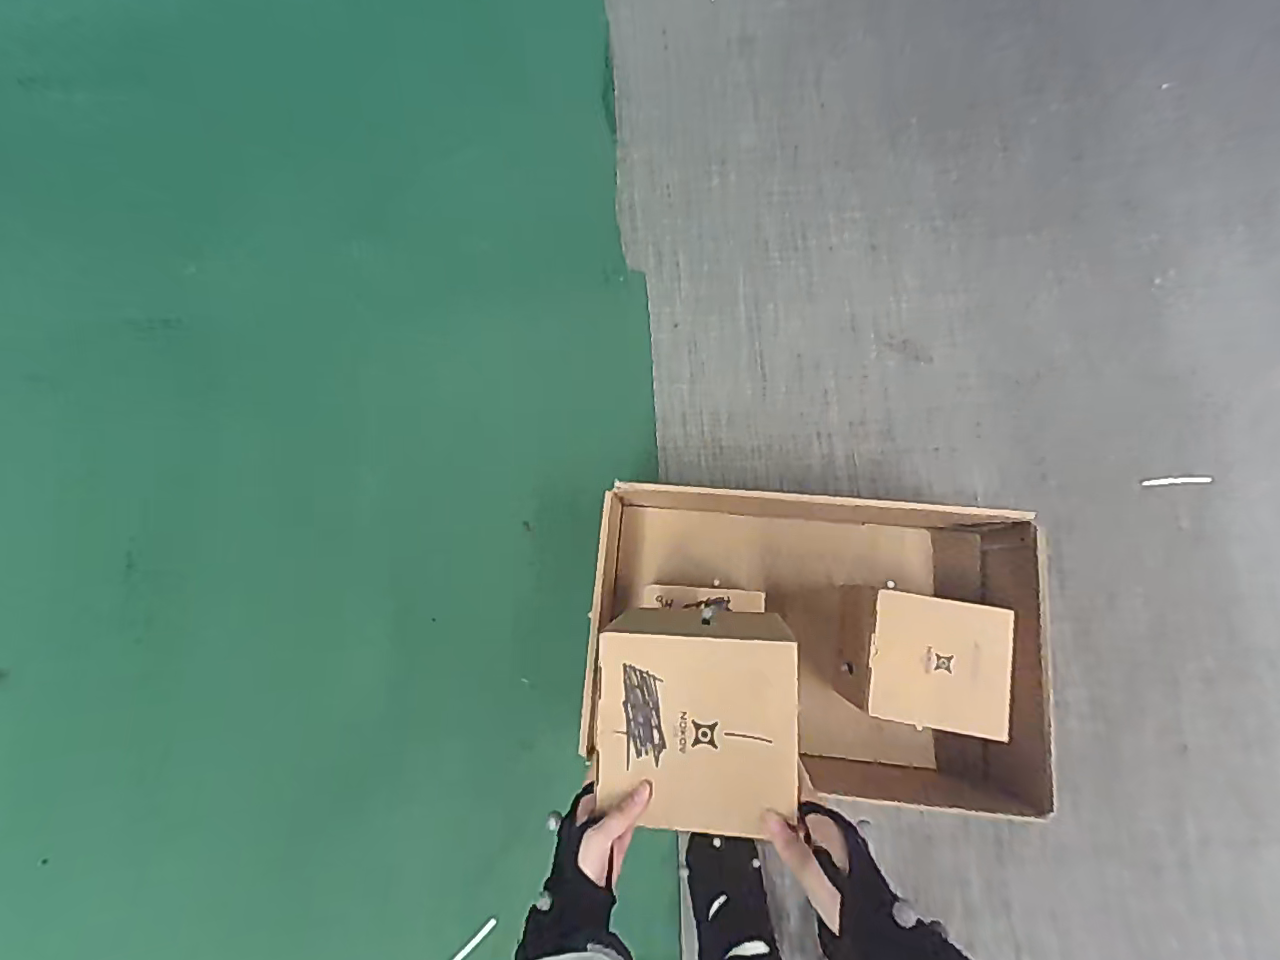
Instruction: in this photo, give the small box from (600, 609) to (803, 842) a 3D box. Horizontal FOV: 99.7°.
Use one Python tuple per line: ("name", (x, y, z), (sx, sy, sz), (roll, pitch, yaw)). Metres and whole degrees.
("small box", (0.064, 0.228, 0.550), (0.179, 0.176, 0.168), (1, 85, 8))
